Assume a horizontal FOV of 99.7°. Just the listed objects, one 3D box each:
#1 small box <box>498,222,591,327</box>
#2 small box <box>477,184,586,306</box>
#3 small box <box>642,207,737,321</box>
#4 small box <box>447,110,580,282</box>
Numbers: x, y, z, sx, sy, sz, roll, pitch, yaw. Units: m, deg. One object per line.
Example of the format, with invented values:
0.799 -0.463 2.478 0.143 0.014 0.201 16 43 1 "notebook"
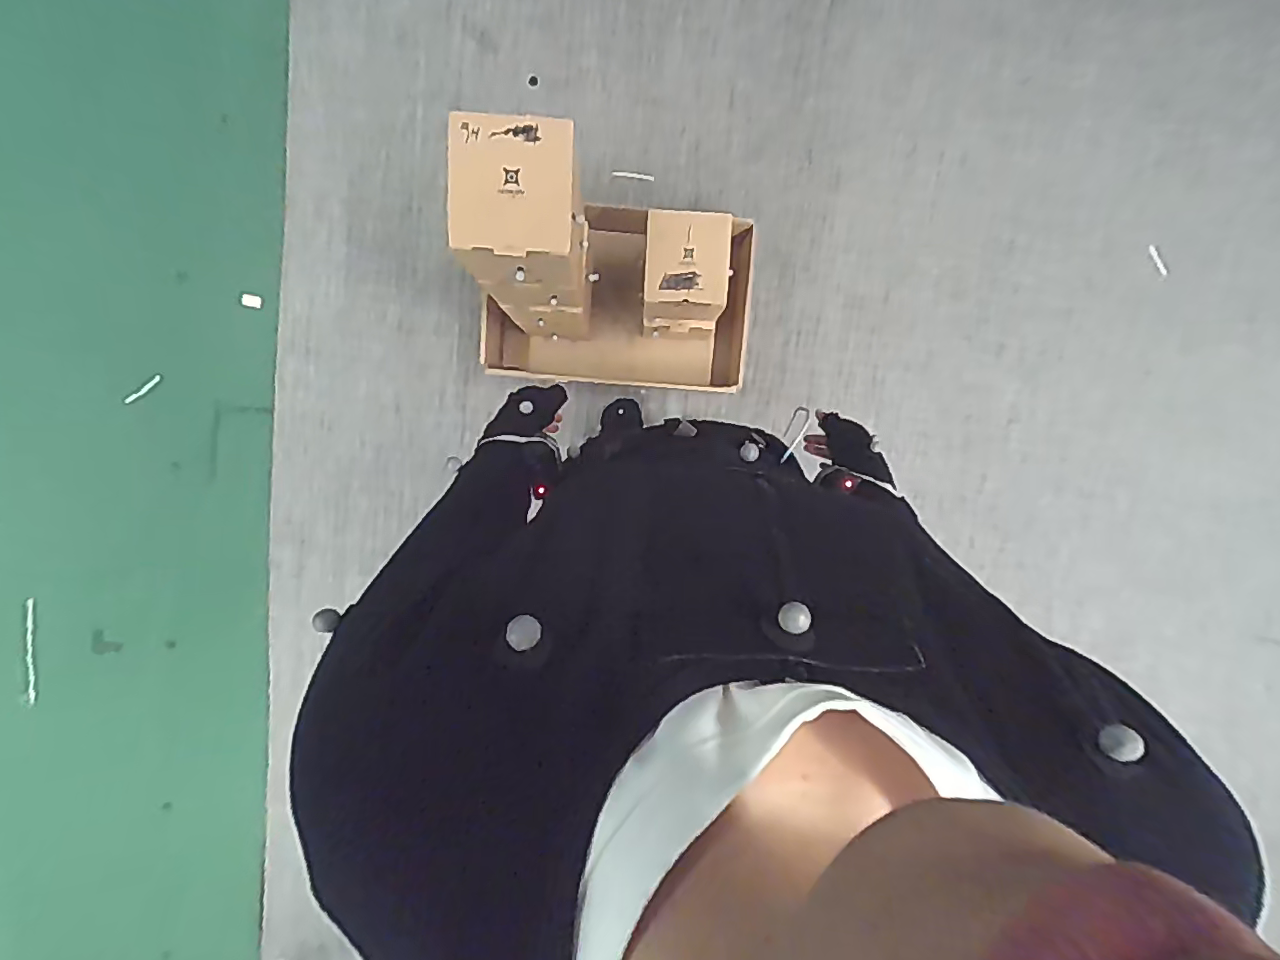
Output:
-0.190 -0.427 1.121 0.168 0.176 0.179 4 96 -3 "small box"
-0.185 -0.415 0.957 0.168 0.176 0.179 3 96 -4 "small box"
0.094 -0.436 1.121 0.168 0.176 0.179 6 96 -3 "small box"
-0.176 -0.401 0.794 0.168 0.176 0.179 2 97 -4 "small box"
